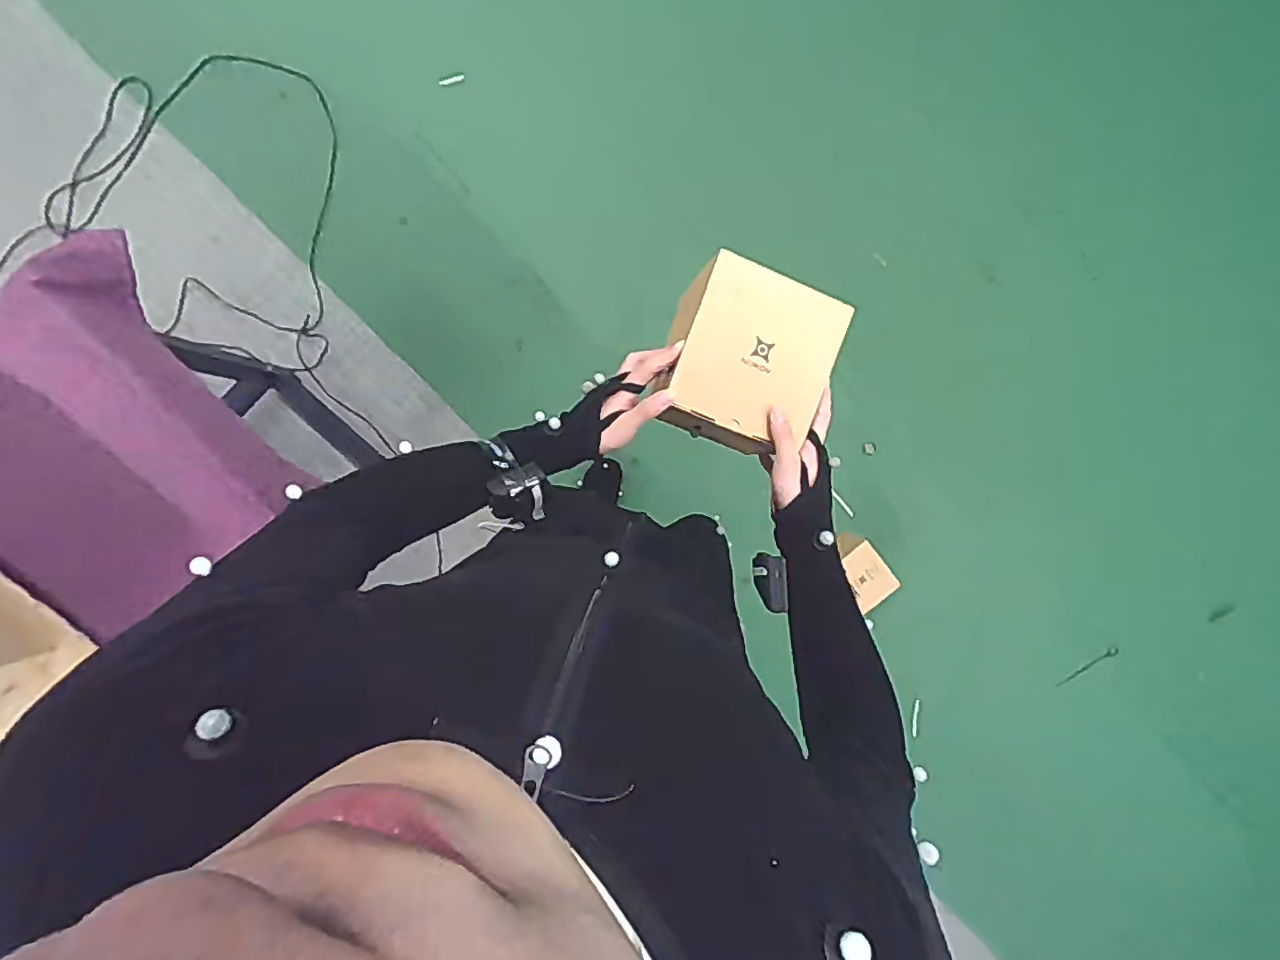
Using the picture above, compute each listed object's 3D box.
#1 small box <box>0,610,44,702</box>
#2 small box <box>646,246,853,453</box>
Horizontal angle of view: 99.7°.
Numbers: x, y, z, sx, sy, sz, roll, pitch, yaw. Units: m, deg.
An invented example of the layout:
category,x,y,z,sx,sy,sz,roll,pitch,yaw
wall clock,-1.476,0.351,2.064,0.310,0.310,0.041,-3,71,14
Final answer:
category,x,y,z,sx,sy,sz,roll,pitch,yaw
small box,-0.903,0.228,0.637,0.179,0.176,0.168,42,88,-4
small box,0.117,-0.143,0.656,0.168,0.176,0.179,20,92,-9
